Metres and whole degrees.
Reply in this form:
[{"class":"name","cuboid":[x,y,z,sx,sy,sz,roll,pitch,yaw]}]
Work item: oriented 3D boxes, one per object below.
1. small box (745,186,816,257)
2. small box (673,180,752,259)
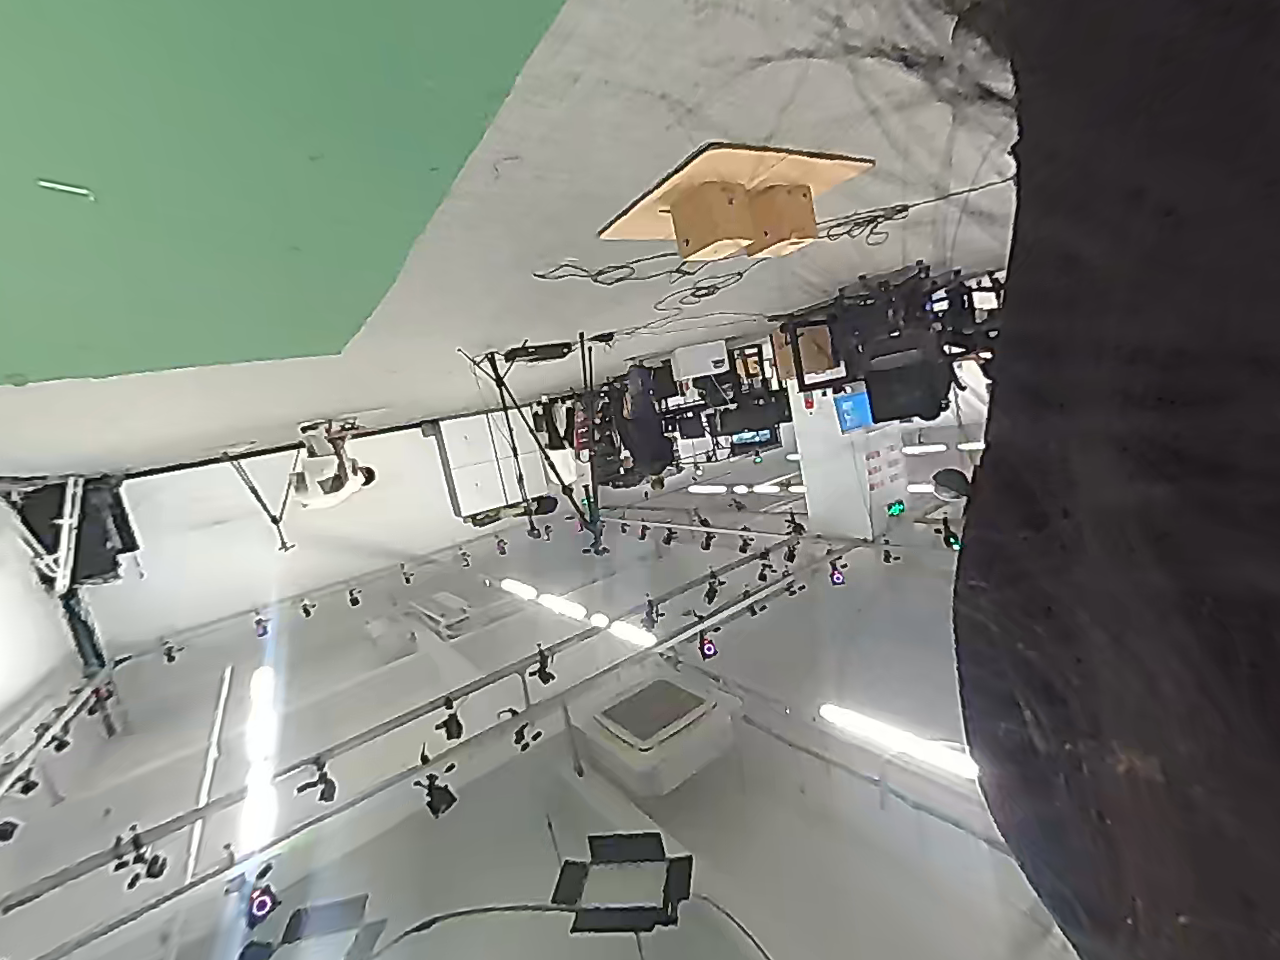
[{"class":"small box","cuboid":[0.456,-0.863,1.808,0.168,0.176,0.179,-16,-171,-30]},{"class":"small box","cuboid":[0.218,-0.799,1.674,0.168,0.176,0.179,-18,-171,-36]}]
